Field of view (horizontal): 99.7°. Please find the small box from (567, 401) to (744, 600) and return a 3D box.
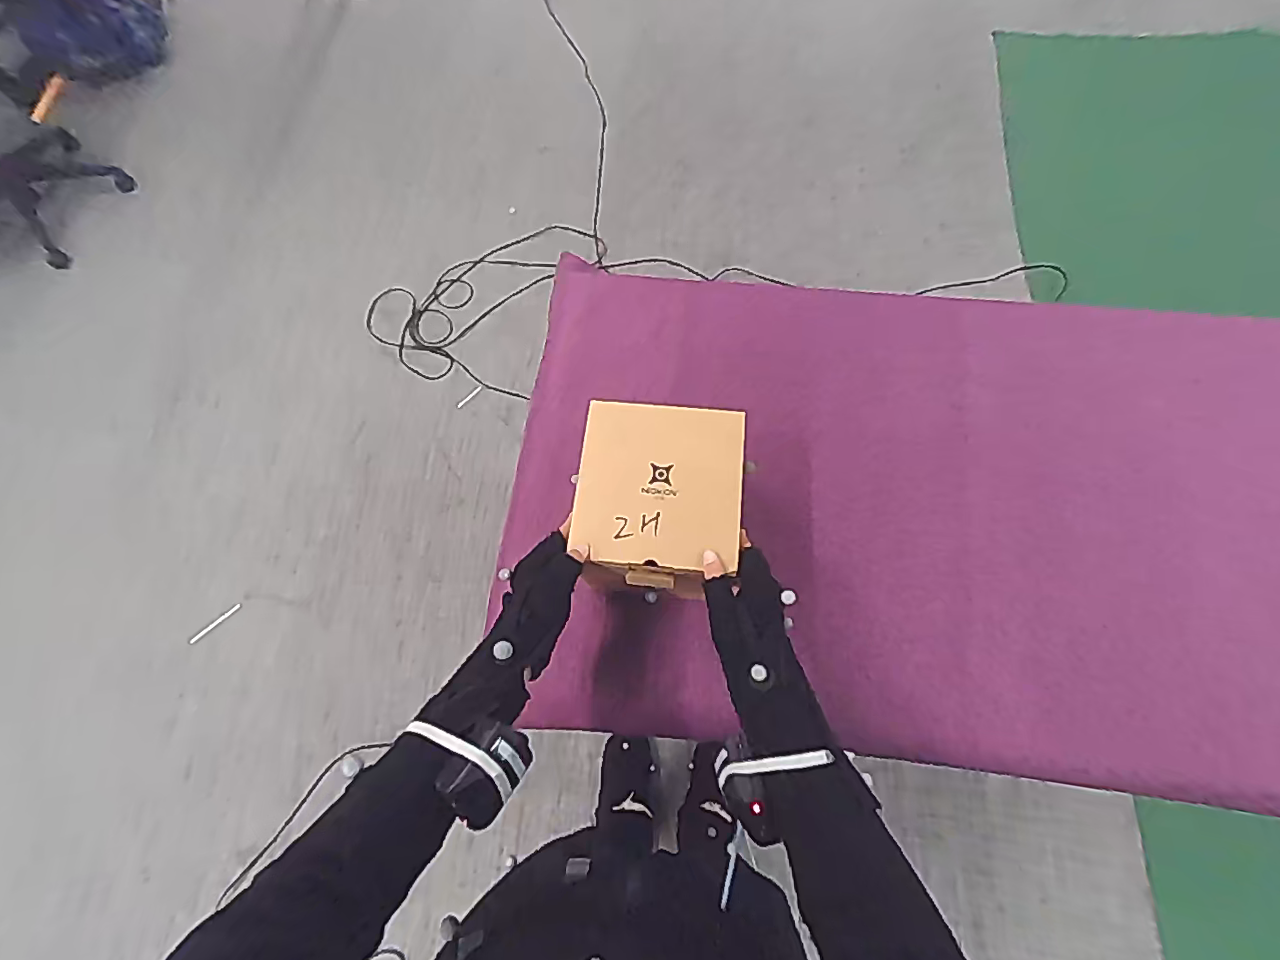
[{"bbox_3d":[0.022,0.031,0.622,0.168,0.176,0.179,5,70,5],"label":"small box"}]
